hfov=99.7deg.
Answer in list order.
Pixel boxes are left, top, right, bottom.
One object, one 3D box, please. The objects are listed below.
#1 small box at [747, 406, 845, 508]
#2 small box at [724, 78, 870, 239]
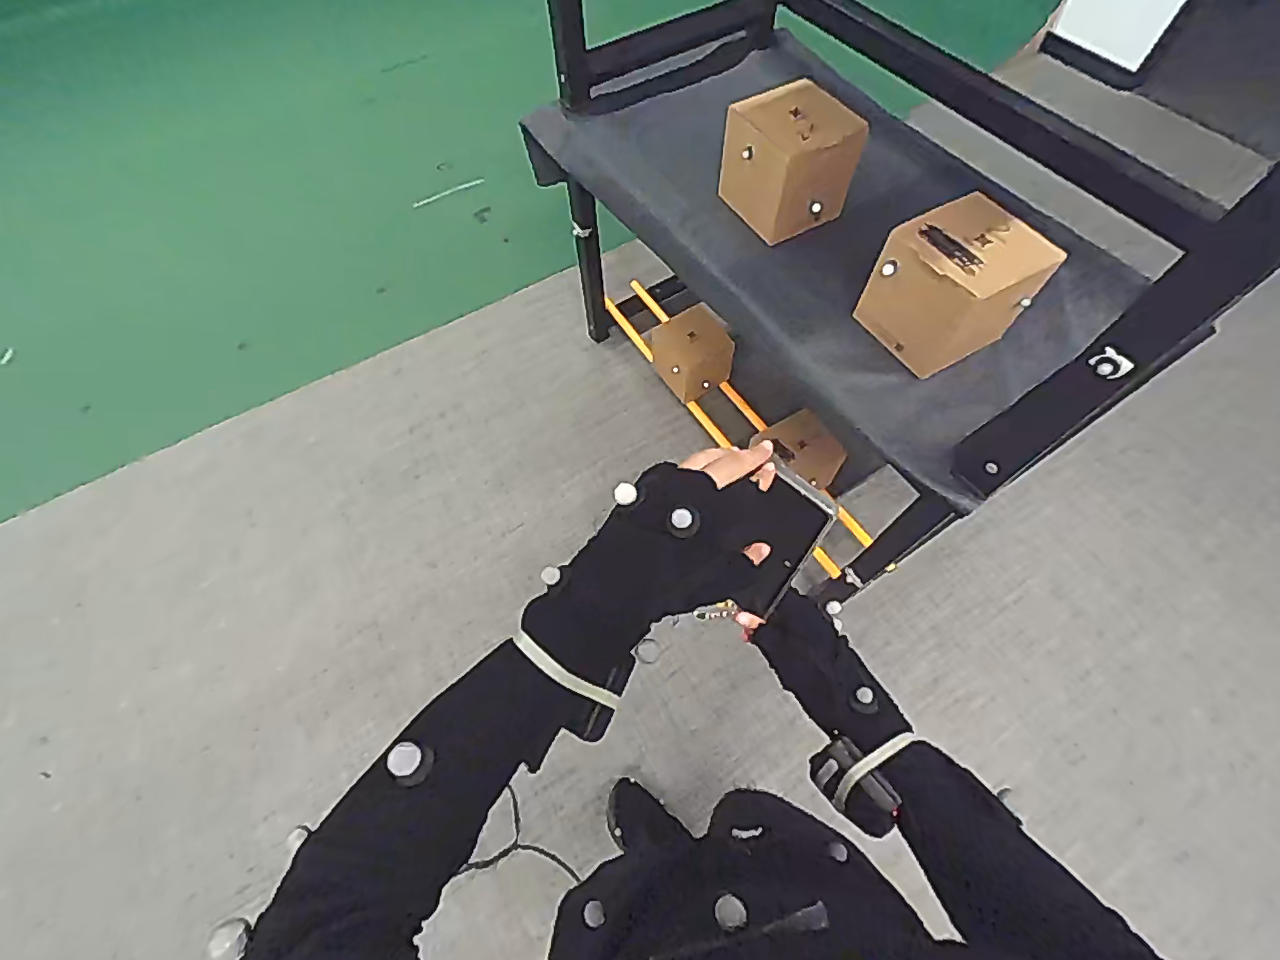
[{"bbox_3d":[0.394,-0.054,1.407,0.179,0.176,0.168,-27,66,-12],"label":"small box"},{"bbox_3d":[0.269,-0.575,0.976,0.168,0.176,0.179,-27,66,-13],"label":"small box"}]
